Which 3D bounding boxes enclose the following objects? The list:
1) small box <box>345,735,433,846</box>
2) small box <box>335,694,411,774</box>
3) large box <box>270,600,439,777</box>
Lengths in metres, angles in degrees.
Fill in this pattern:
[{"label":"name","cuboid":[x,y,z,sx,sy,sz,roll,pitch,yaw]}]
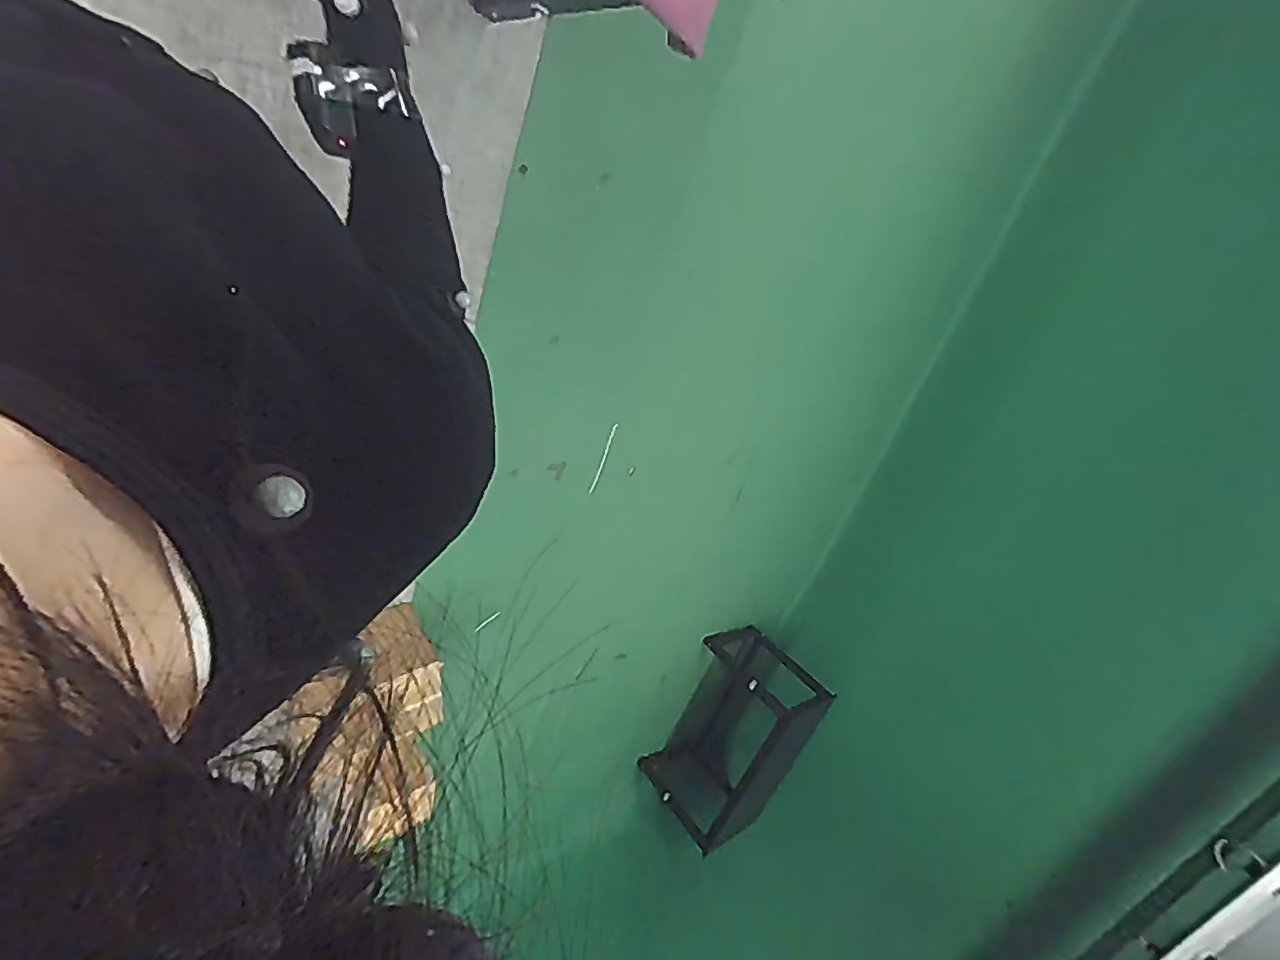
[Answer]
[{"label":"small box","cuboid":[-0.692,0.843,1.489,0.179,0.176,0.168,-8,124,-40]},{"label":"small box","cuboid":[-0.787,0.759,1.590,0.168,0.176,0.179,-9,125,-39]},{"label":"large box","cuboid":[-0.923,0.661,1.774,0.408,0.320,0.320,-16,131,-37]}]
